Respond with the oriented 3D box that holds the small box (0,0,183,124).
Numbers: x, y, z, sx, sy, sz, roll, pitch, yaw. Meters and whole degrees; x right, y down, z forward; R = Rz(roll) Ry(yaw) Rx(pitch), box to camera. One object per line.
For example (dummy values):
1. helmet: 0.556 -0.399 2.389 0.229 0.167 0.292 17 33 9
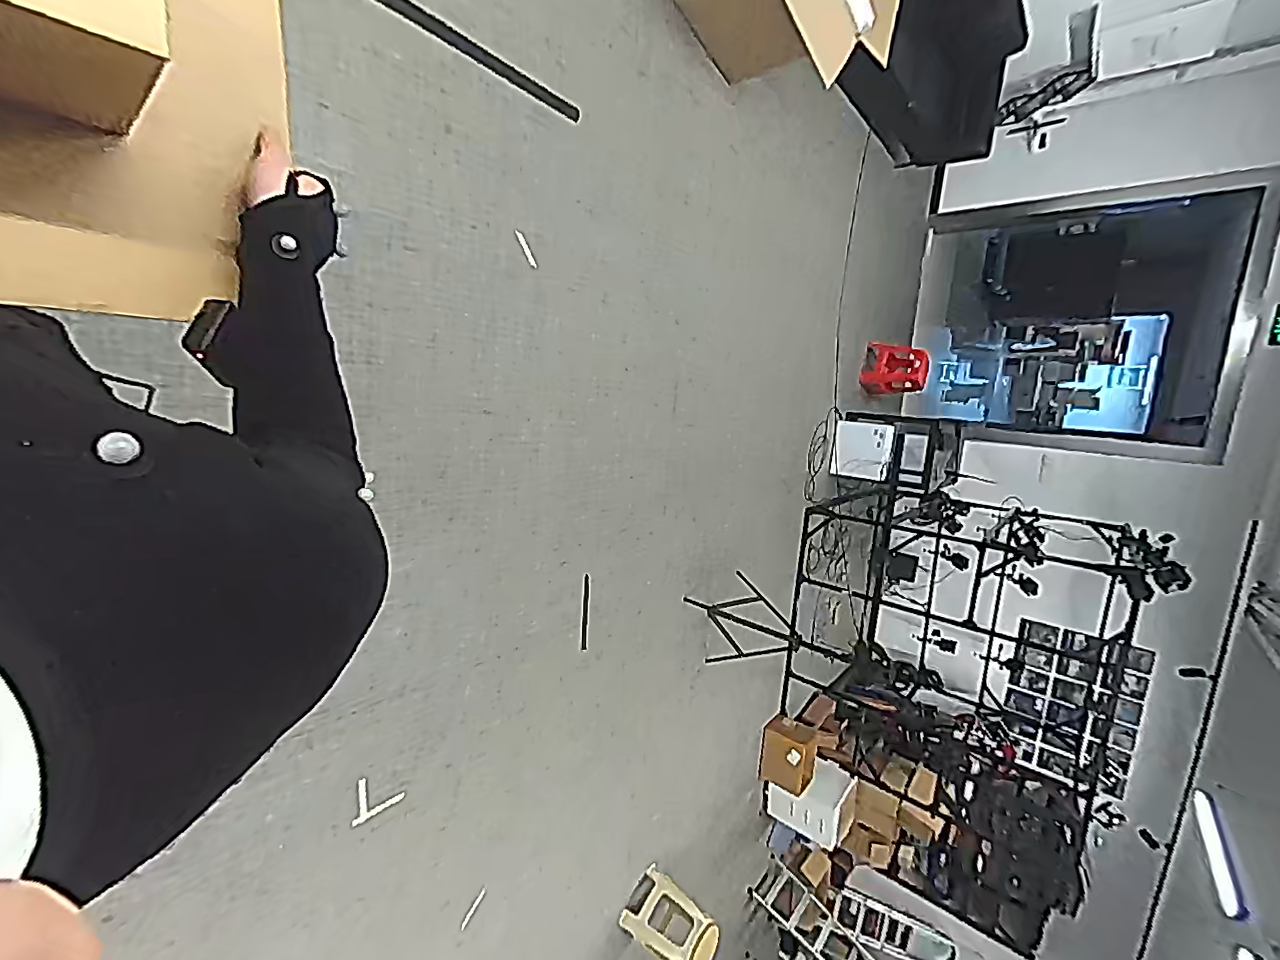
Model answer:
1. small box: -0.419 -0.351 0.331 0.179 0.176 0.168 -11 105 -49
